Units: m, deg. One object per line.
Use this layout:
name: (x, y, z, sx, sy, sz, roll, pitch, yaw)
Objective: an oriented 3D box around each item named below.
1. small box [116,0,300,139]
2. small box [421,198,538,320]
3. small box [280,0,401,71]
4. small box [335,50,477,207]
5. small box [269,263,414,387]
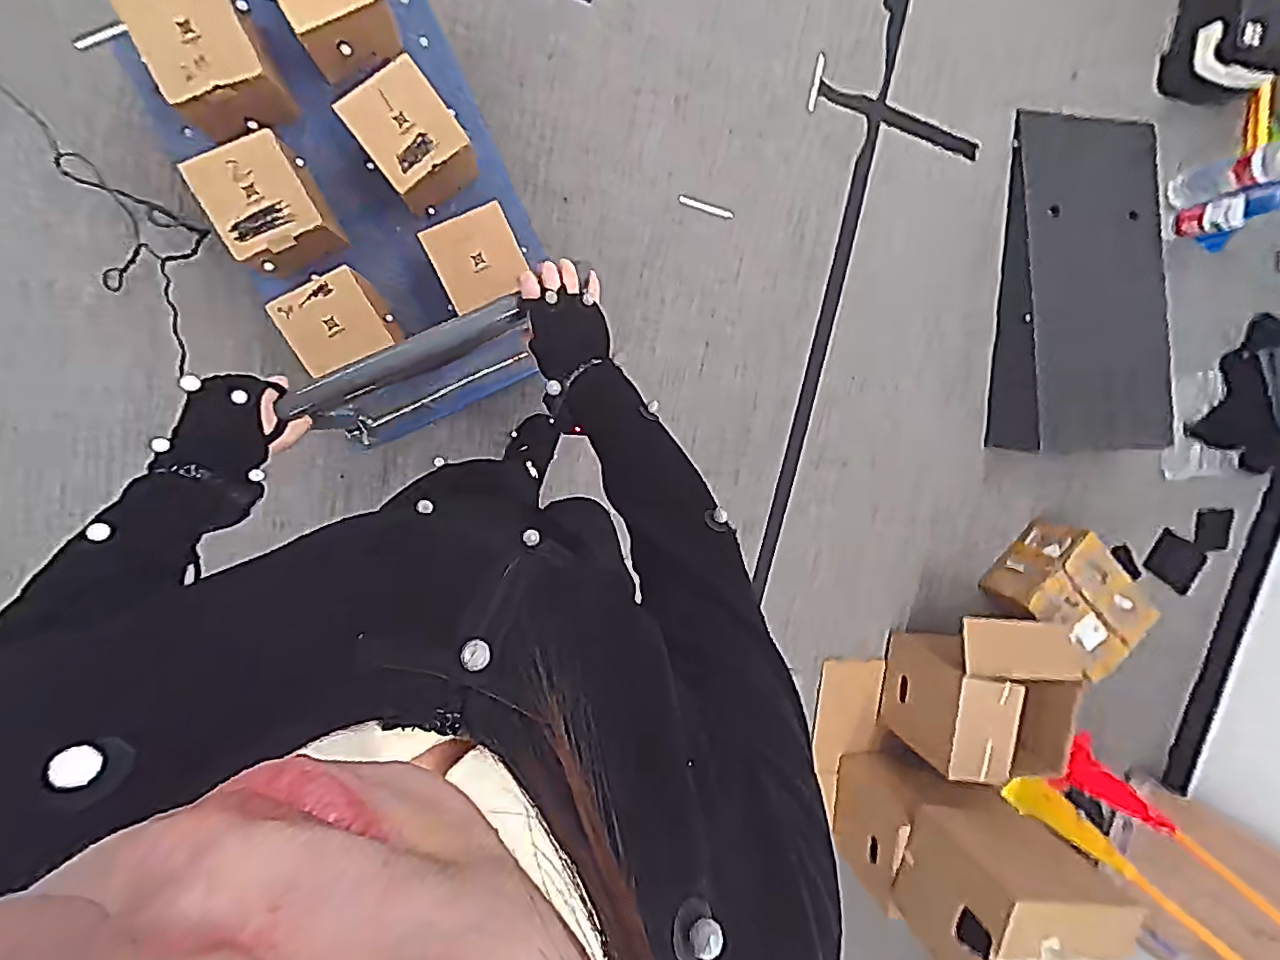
small box: (-0.757, -0.756, 0.965, 0.168, 0.176, 0.179, -25, 105, -6)
small box: (-0.320, -0.442, 1.116, 0.168, 0.176, 0.179, -26, 104, -7)
small box: (-0.566, -0.892, 0.982, 0.168, 0.176, 0.179, -30, 105, -5)
small box: (-0.439, -0.661, 1.050, 0.168, 0.176, 0.179, -38, 104, -3)
small box: (-0.582, -0.303, 1.085, 0.168, 0.176, 0.179, -31, 105, -6)
